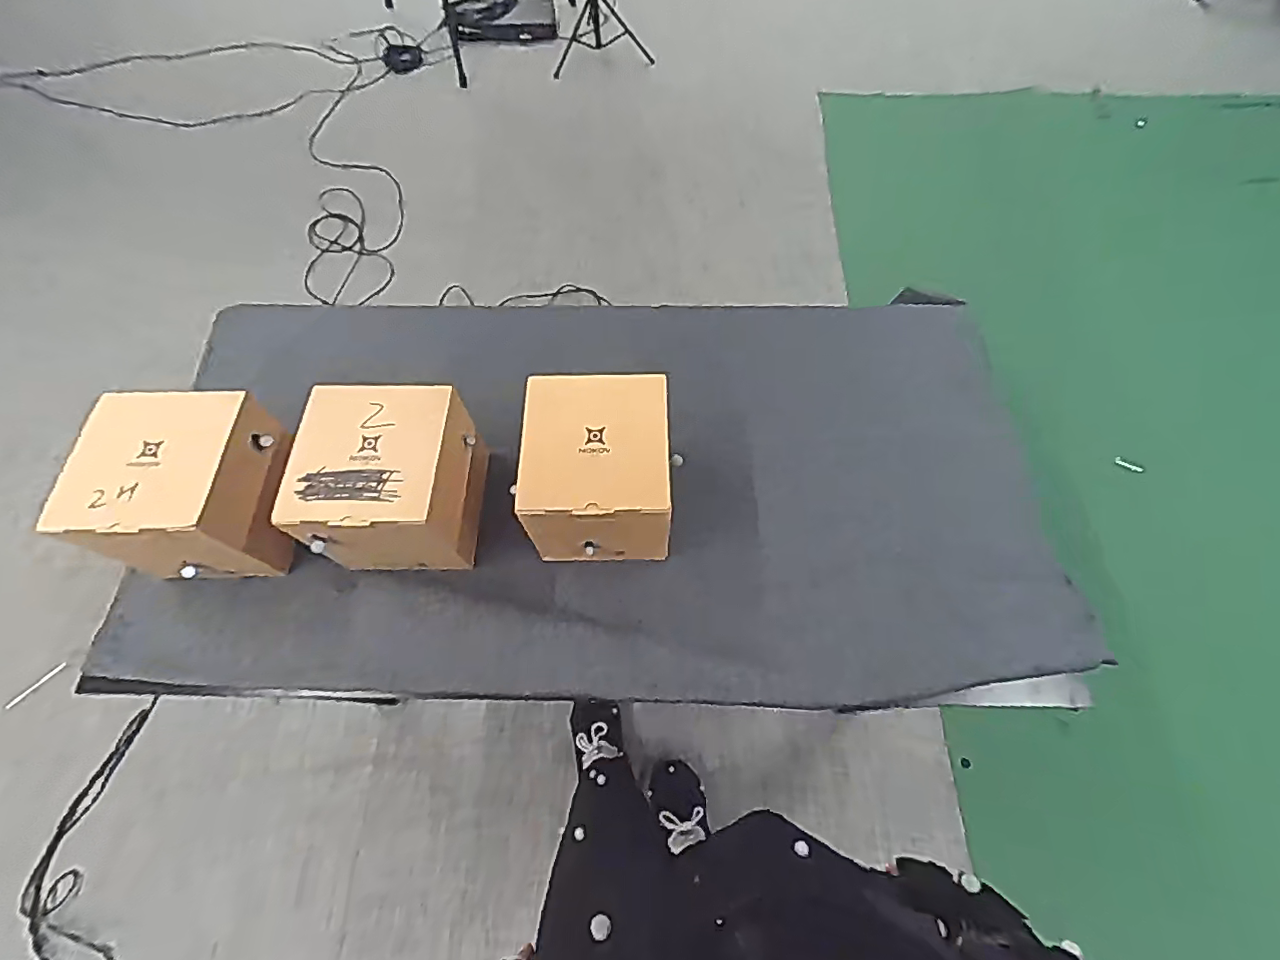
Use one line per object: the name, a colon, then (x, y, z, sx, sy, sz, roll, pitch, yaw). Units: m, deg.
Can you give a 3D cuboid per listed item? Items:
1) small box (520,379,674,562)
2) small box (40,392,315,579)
small box: (-0.046, -0.006, 0.674, 0.168, 0.176, 0.179, -1, 65, 0)
small box: (-0.534, 0.012, 0.661, 0.168, 0.176, 0.179, -1, 63, -1)
